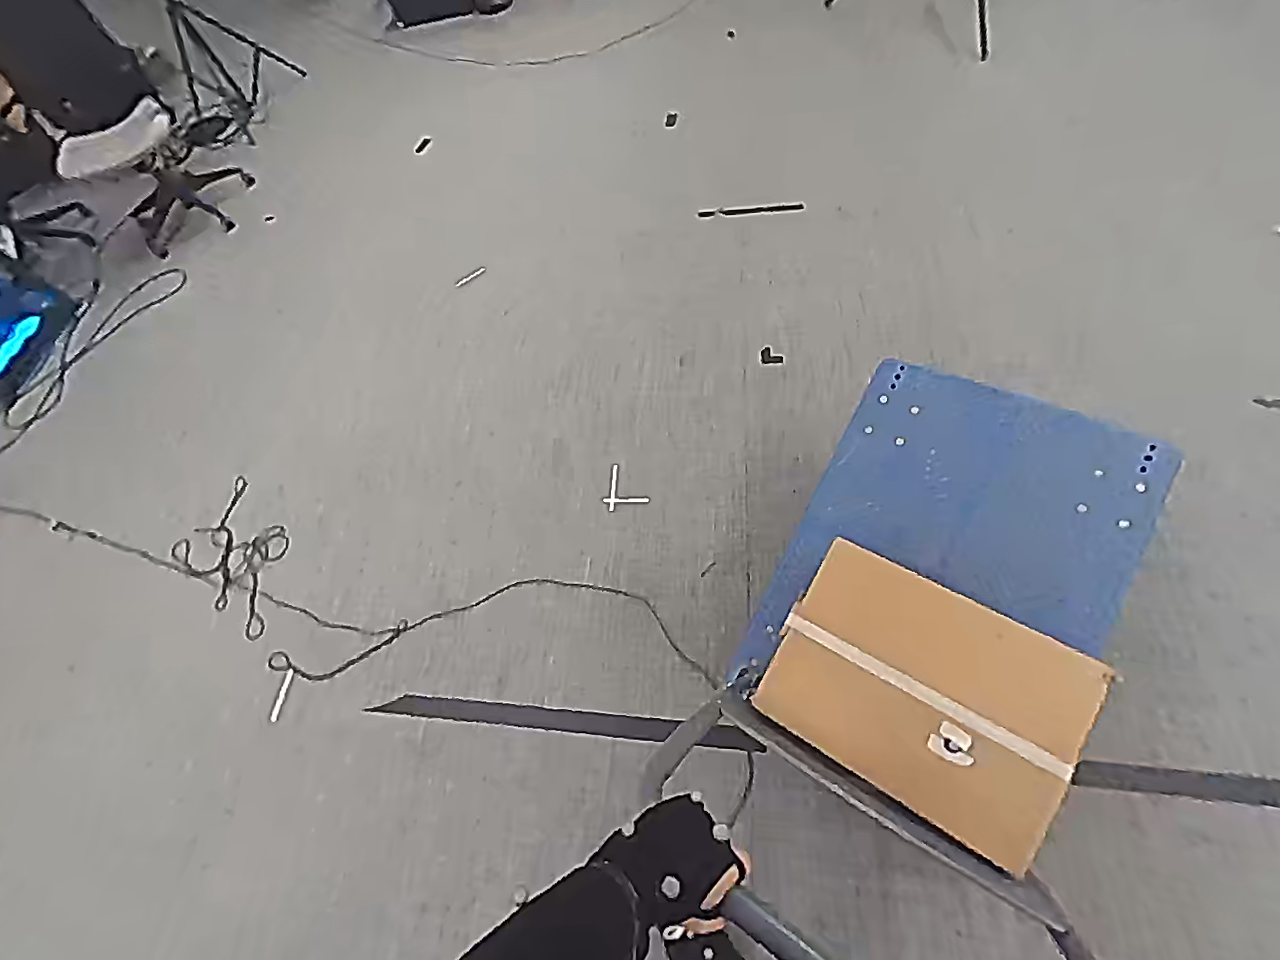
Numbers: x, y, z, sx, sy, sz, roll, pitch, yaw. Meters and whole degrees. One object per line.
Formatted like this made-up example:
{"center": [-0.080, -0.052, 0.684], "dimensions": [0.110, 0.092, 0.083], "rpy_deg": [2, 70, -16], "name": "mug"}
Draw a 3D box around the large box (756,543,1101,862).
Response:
{"center": [0.465, 0.354, 0.966], "dimensions": [0.408, 0.320, 0.320], "rpy_deg": [27, 85, 22], "name": "large box"}
